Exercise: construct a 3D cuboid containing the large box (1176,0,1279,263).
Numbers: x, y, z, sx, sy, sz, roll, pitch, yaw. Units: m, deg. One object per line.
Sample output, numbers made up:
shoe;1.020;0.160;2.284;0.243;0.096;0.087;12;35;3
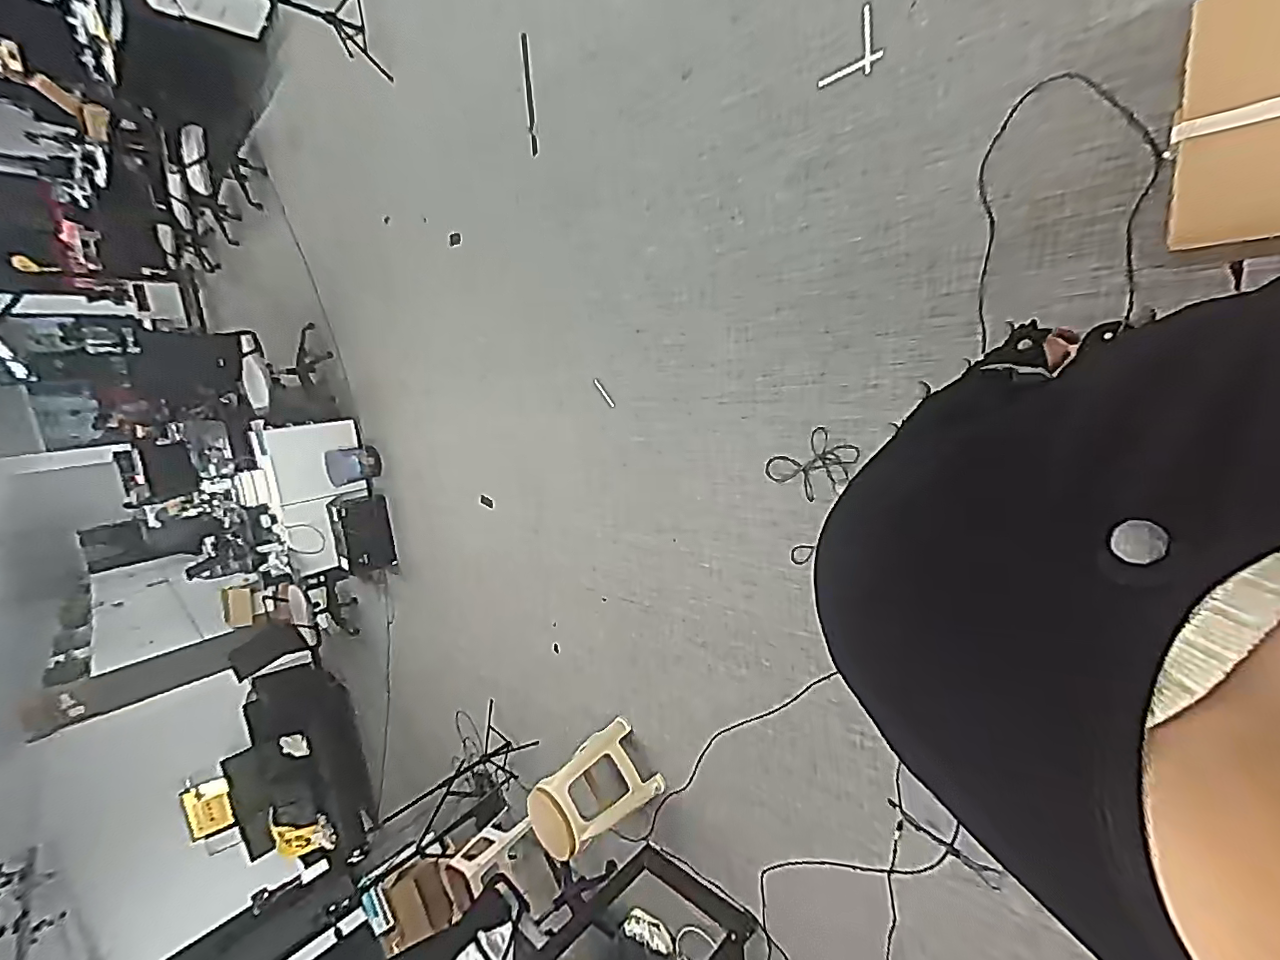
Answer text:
large box;0.963;-0.485;0.674;0.408;0.320;0.320;6;106;43
